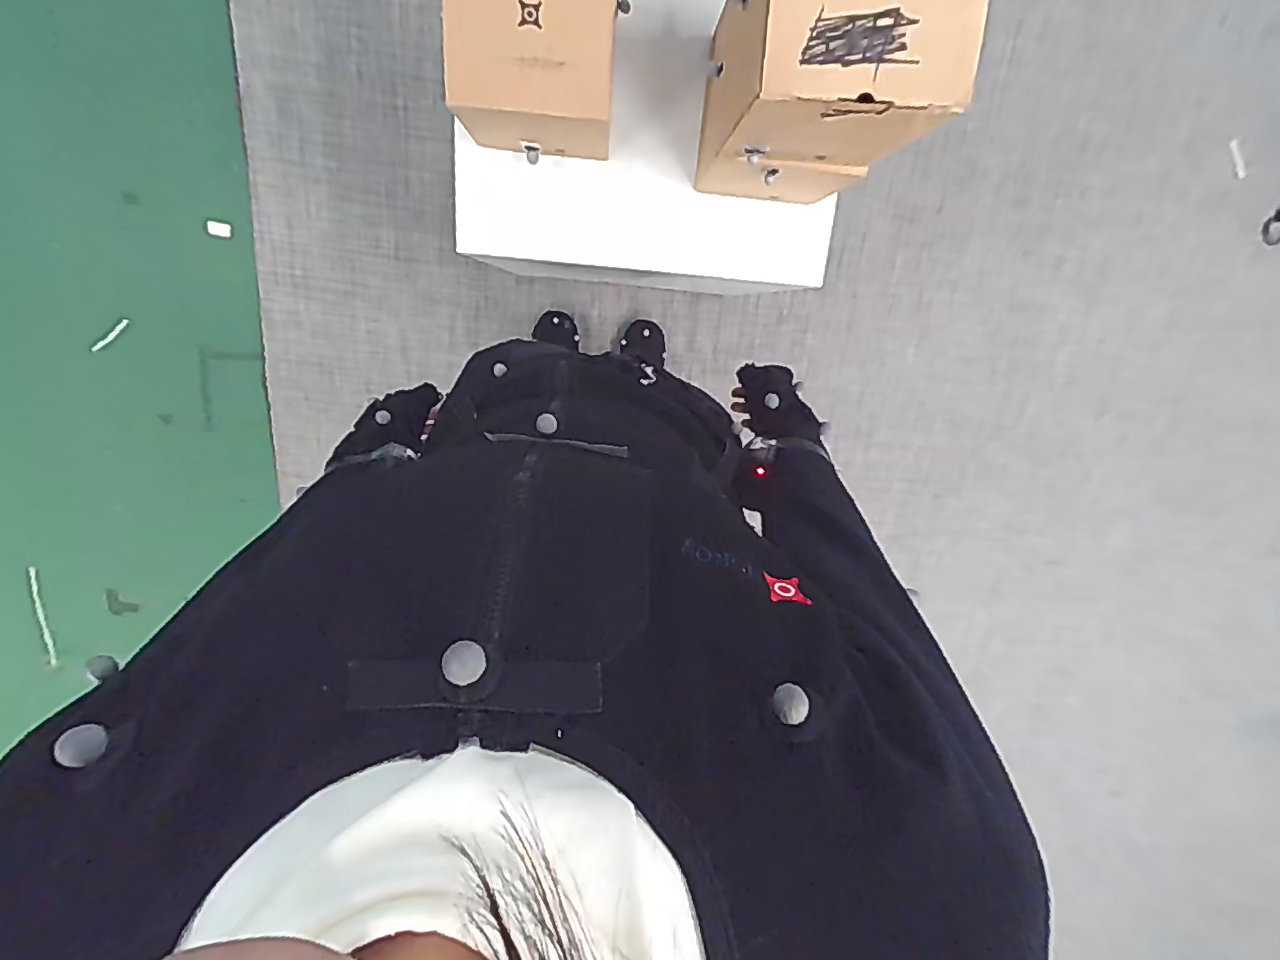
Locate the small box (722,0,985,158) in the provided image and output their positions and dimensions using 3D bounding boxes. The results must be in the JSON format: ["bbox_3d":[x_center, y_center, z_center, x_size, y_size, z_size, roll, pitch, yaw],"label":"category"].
[{"bbox_3d":[0.169,-0.394,0.462,0.168,0.176,0.179,1,107,-3],"label":"small box"}]

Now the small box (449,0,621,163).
[{"bbox_3d":[-0.106,-0.474,0.598,0.168,0.176,0.179,2,109,-3],"label":"small box"}]

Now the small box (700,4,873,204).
[{"bbox_3d":[0.168,-0.437,0.621,0.168,0.176,0.179,4,107,-3],"label":"small box"}]
